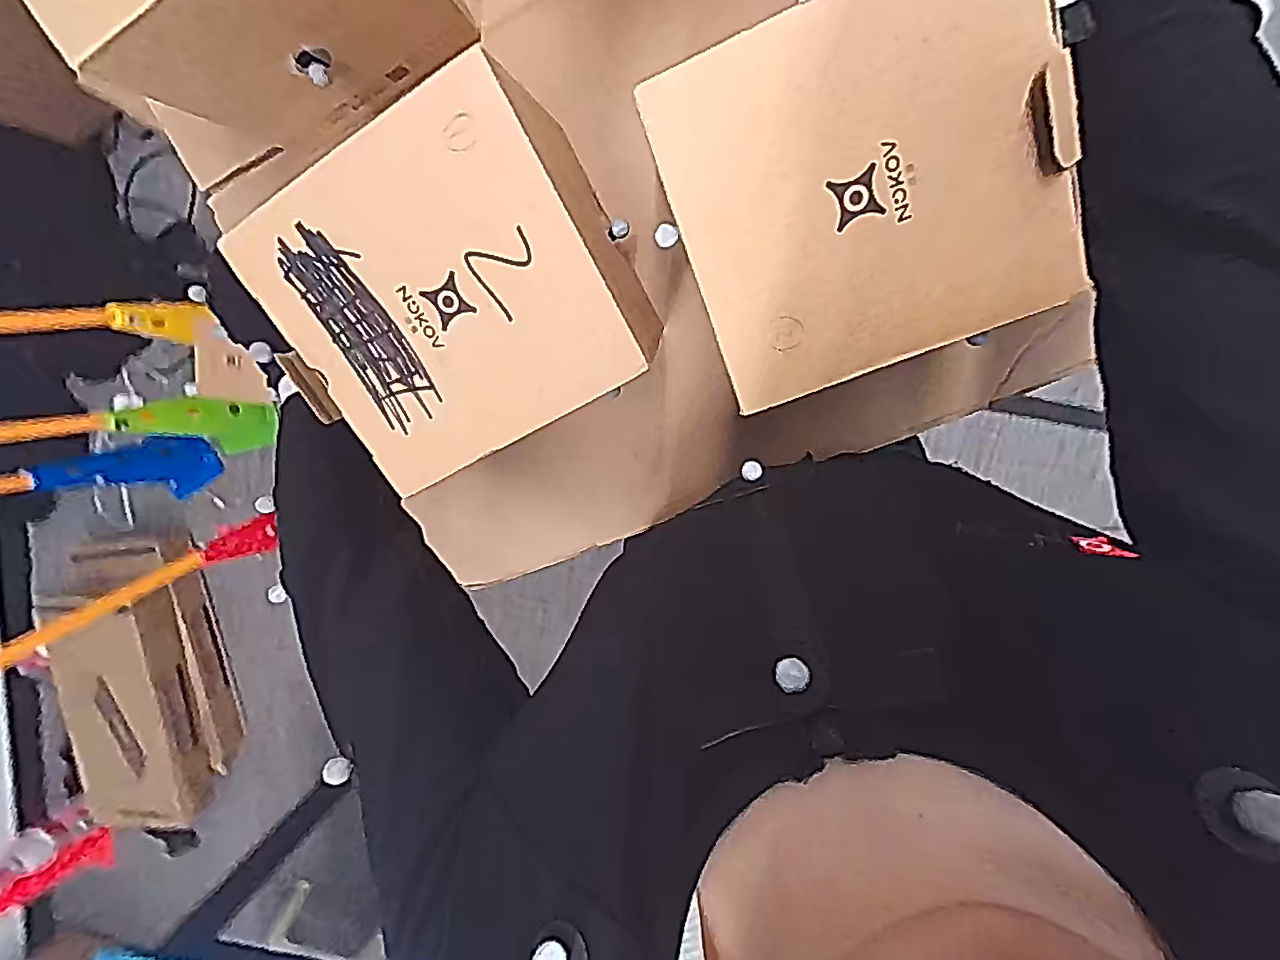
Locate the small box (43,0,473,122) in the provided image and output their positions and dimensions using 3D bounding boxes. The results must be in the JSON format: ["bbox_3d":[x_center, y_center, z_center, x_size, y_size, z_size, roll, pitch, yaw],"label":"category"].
[{"bbox_3d":[-0.223,-0.334,0.298,0.168,0.176,0.179,-21,105,12],"label":"small box"}]
